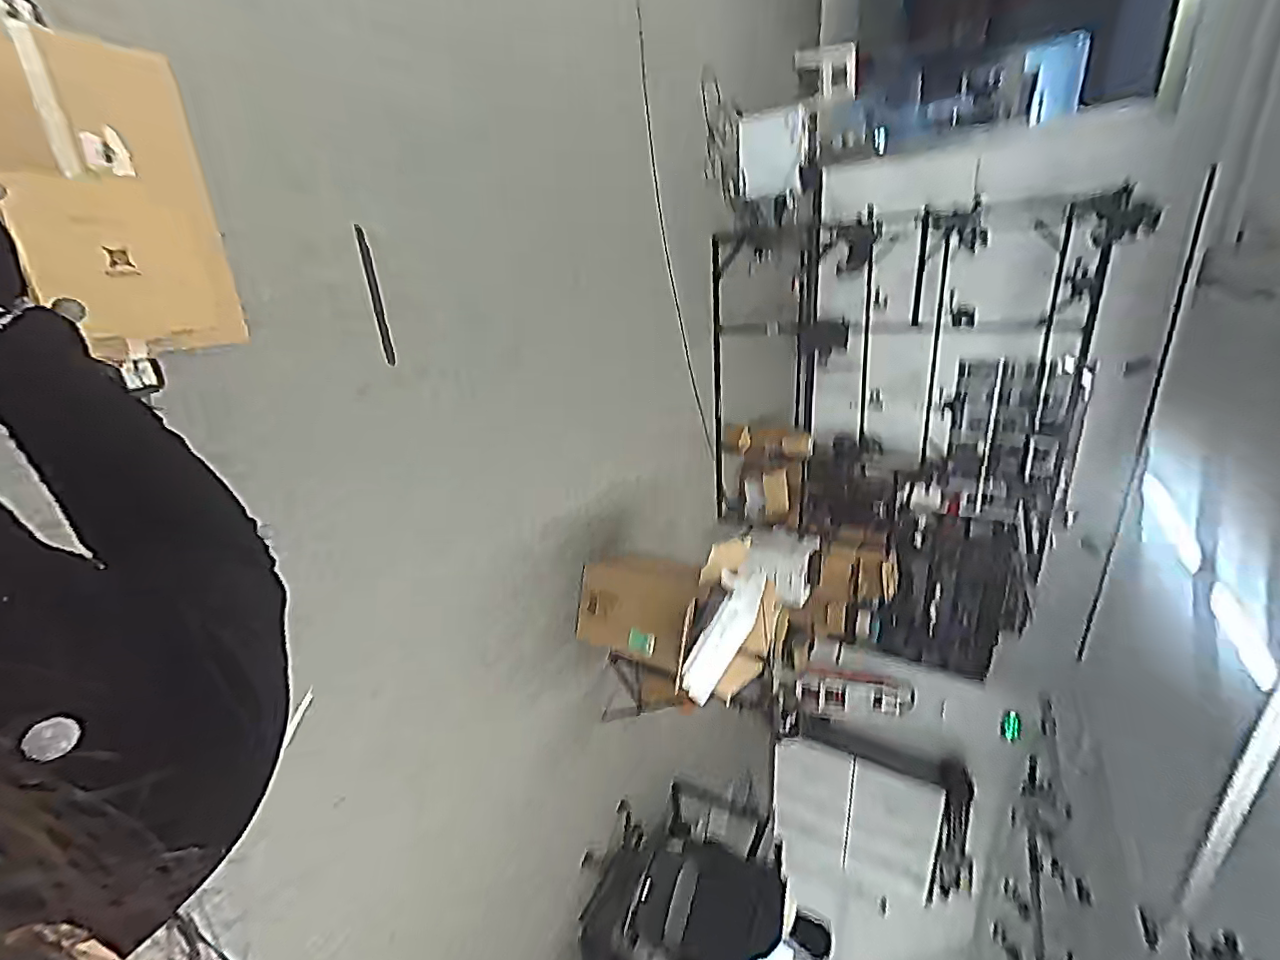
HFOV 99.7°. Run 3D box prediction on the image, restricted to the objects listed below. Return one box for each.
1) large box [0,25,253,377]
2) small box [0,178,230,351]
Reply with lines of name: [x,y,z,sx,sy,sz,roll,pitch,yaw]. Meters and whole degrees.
large box: [-0.870,-0.379,0.801,0.320,0.320,0.408,-32,123,-53]
small box: [-0.670,-0.261,0.683,0.168,0.176,0.179,-31,122,-52]
